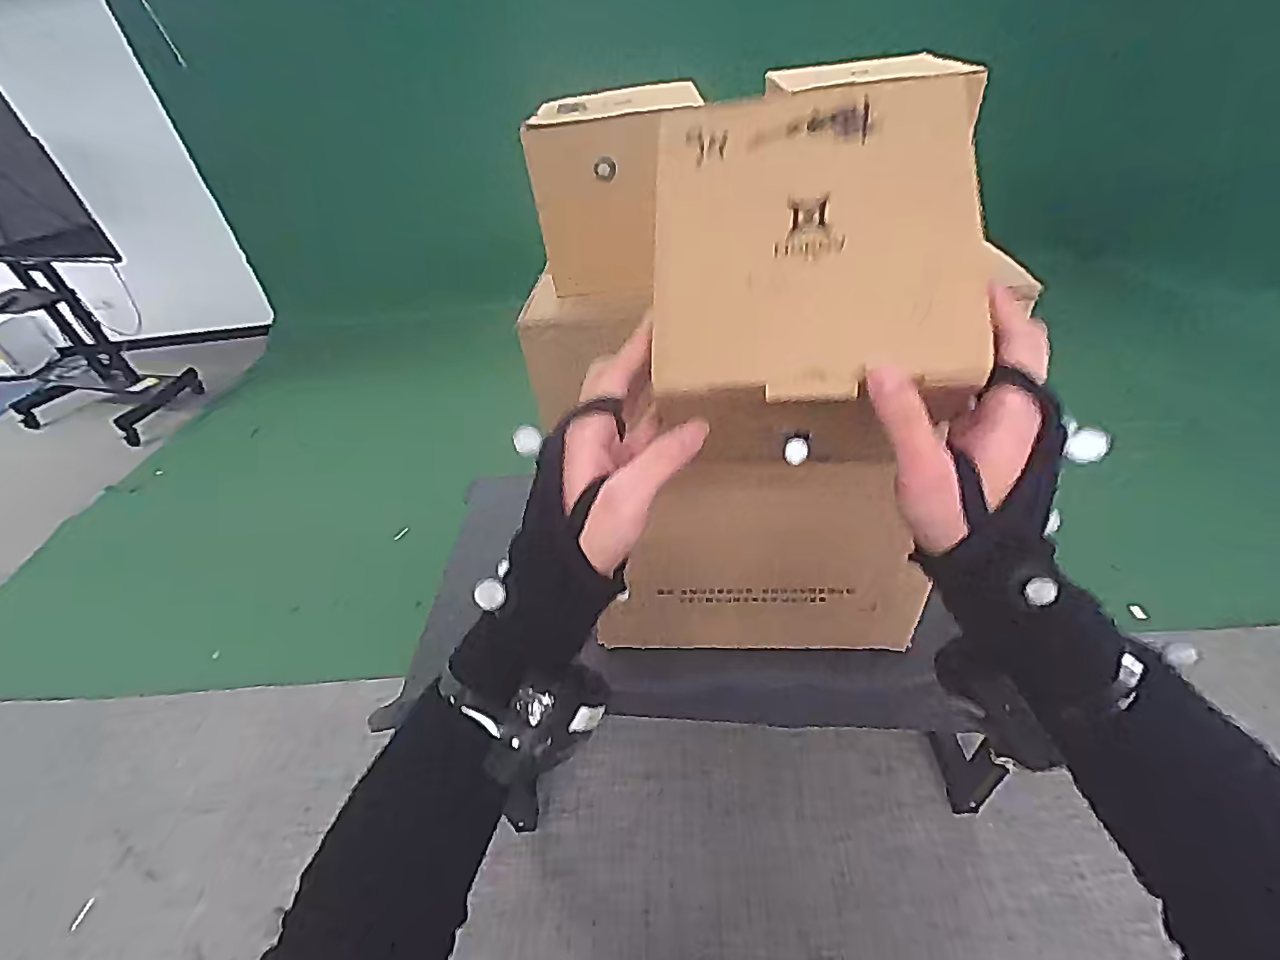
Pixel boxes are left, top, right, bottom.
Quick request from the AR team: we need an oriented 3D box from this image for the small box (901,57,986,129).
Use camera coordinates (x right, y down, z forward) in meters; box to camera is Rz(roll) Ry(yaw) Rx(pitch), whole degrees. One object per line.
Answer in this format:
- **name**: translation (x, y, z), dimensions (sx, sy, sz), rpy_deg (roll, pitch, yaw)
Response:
- **small box**: translation (0.239, -0.350, 0.604), dimensions (0.179, 0.176, 0.168), rpy_deg (-1, 42, 7)

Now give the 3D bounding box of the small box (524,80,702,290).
- **small box**: translation (-0.011, -0.333, 0.622), dimensions (0.179, 0.176, 0.168), rpy_deg (-3, 44, 8)
